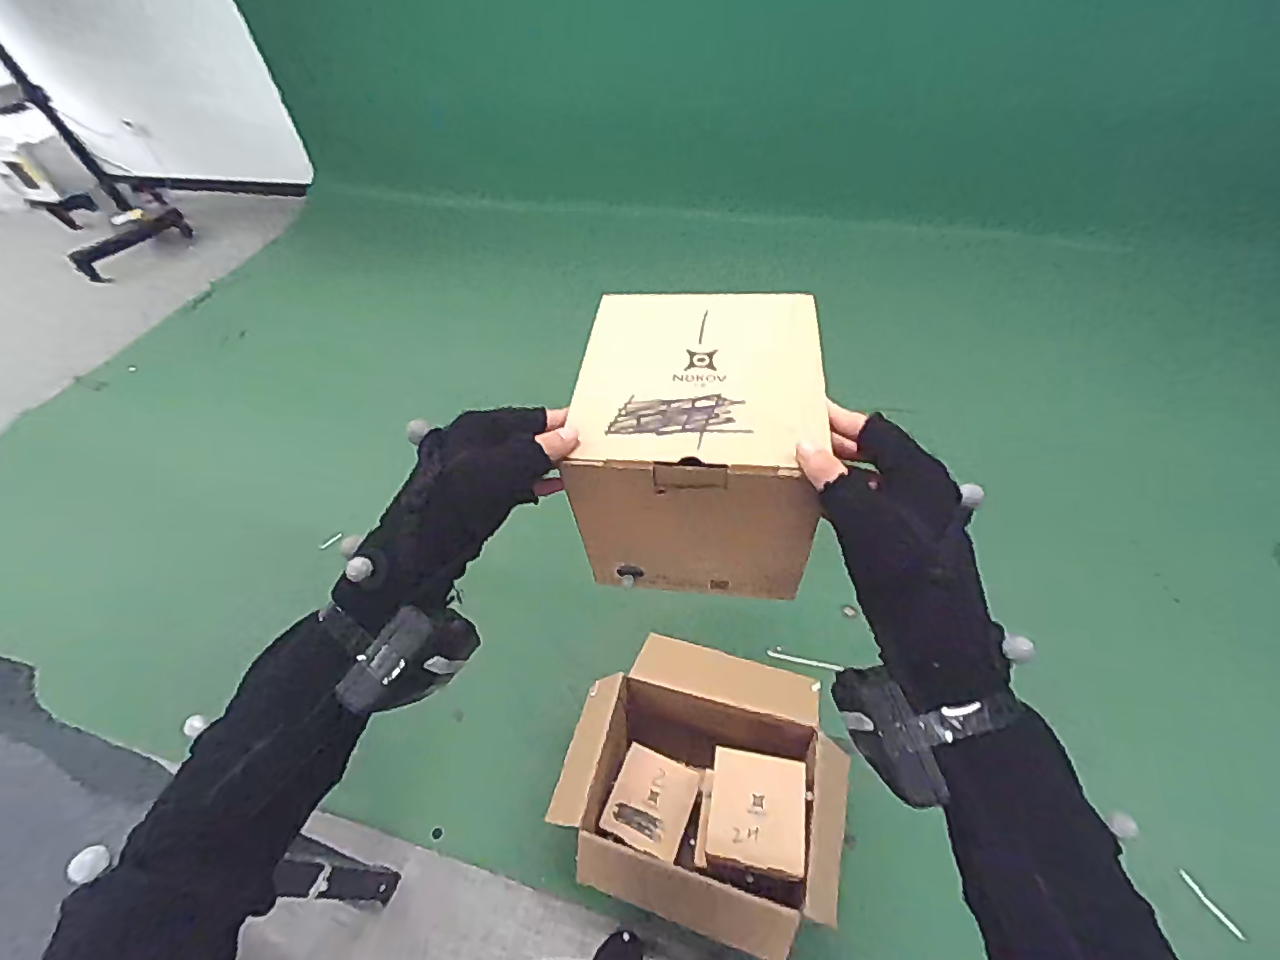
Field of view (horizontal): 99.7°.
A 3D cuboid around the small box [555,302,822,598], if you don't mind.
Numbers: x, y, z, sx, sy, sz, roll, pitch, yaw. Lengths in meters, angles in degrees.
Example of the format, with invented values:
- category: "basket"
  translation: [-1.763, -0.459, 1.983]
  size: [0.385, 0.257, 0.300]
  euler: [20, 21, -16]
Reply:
- category: "small box"
  translation: [0.044, -0.021, 0.435]
  size: [0.168, 0.176, 0.179]
  euler: [3, 51, 8]
